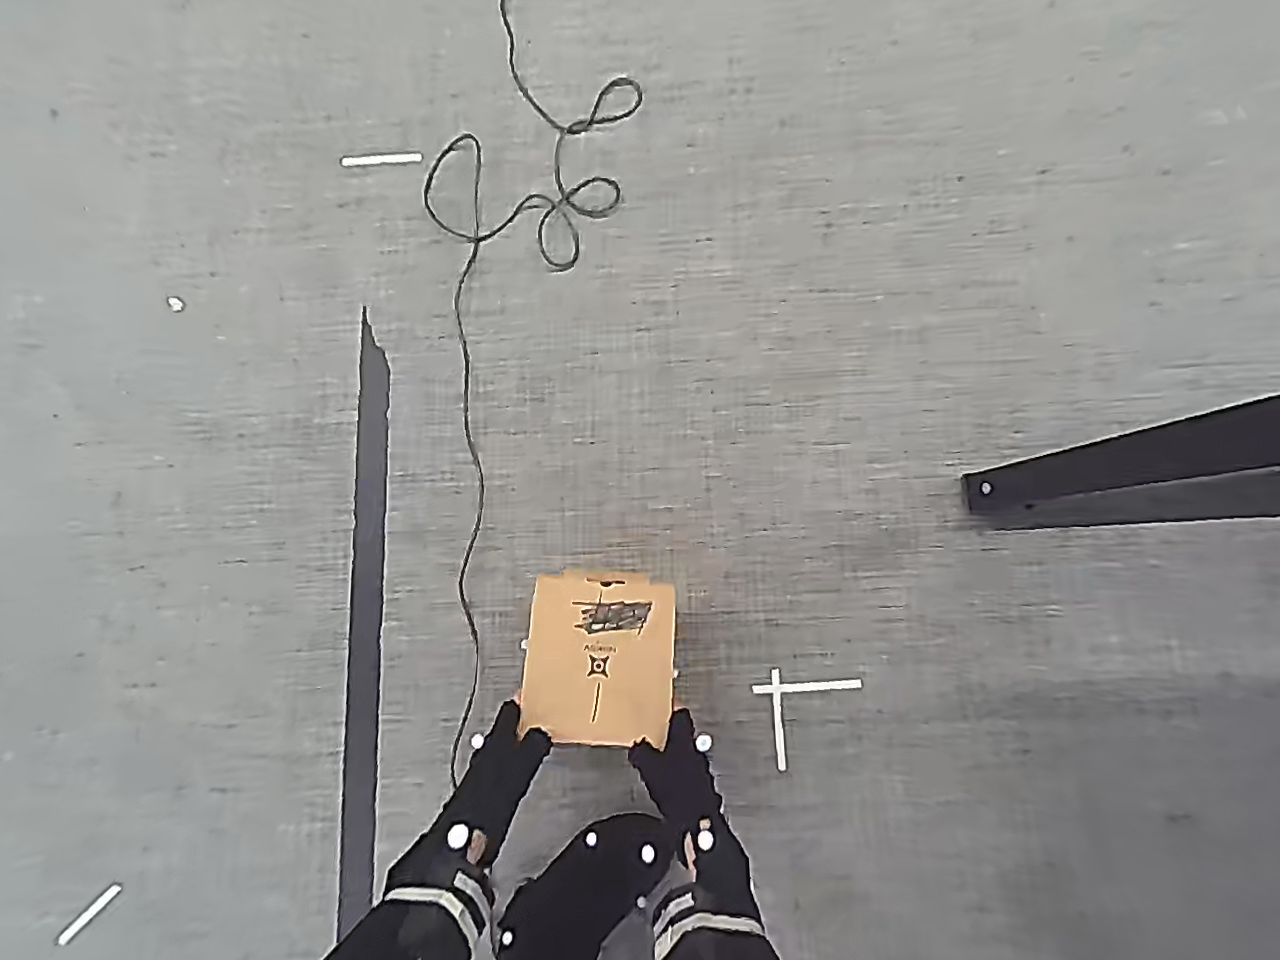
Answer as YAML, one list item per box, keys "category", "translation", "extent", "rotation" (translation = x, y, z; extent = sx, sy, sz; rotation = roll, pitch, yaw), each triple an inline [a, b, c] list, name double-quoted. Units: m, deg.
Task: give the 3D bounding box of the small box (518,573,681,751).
- category: "small box"
  translation: [-0.048, 0.227, 0.665]
  extent: [0.168, 0.176, 0.179]
  rotation: [6, 66, -3]
